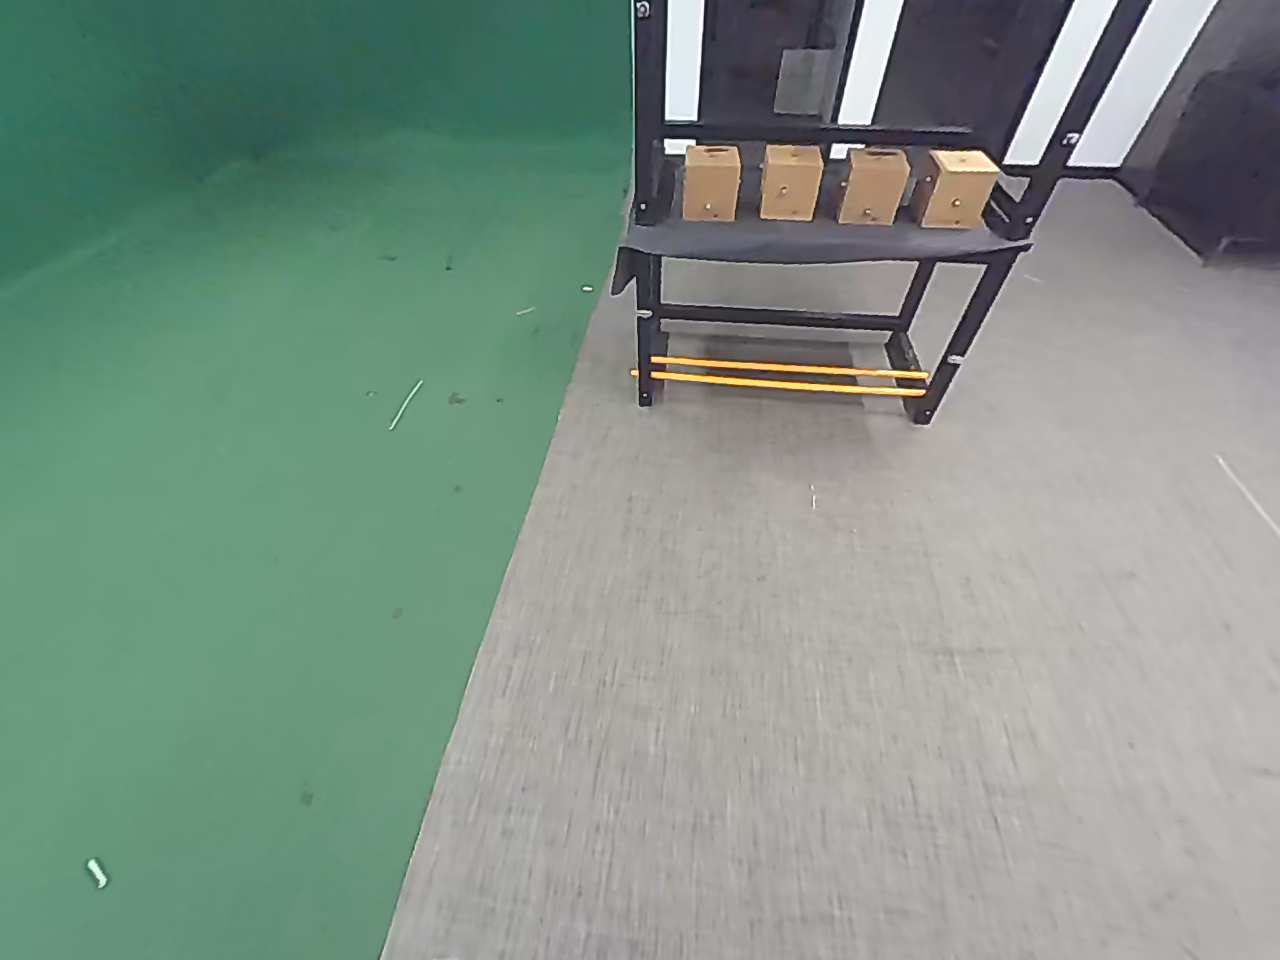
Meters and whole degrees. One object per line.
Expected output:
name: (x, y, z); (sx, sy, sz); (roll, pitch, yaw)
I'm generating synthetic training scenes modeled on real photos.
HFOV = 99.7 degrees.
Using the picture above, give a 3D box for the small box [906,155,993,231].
small box: (0.959, -0.897, 1.692); (0.168, 0.176, 0.179); (4, 47, 4)

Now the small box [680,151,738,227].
small box: (0.217, -0.936, 1.738); (0.168, 0.176, 0.179); (1, 49, 2)

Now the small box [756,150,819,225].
small box: (0.470, -0.943, 1.744); (0.168, 0.176, 0.179); (5, 48, 5)
